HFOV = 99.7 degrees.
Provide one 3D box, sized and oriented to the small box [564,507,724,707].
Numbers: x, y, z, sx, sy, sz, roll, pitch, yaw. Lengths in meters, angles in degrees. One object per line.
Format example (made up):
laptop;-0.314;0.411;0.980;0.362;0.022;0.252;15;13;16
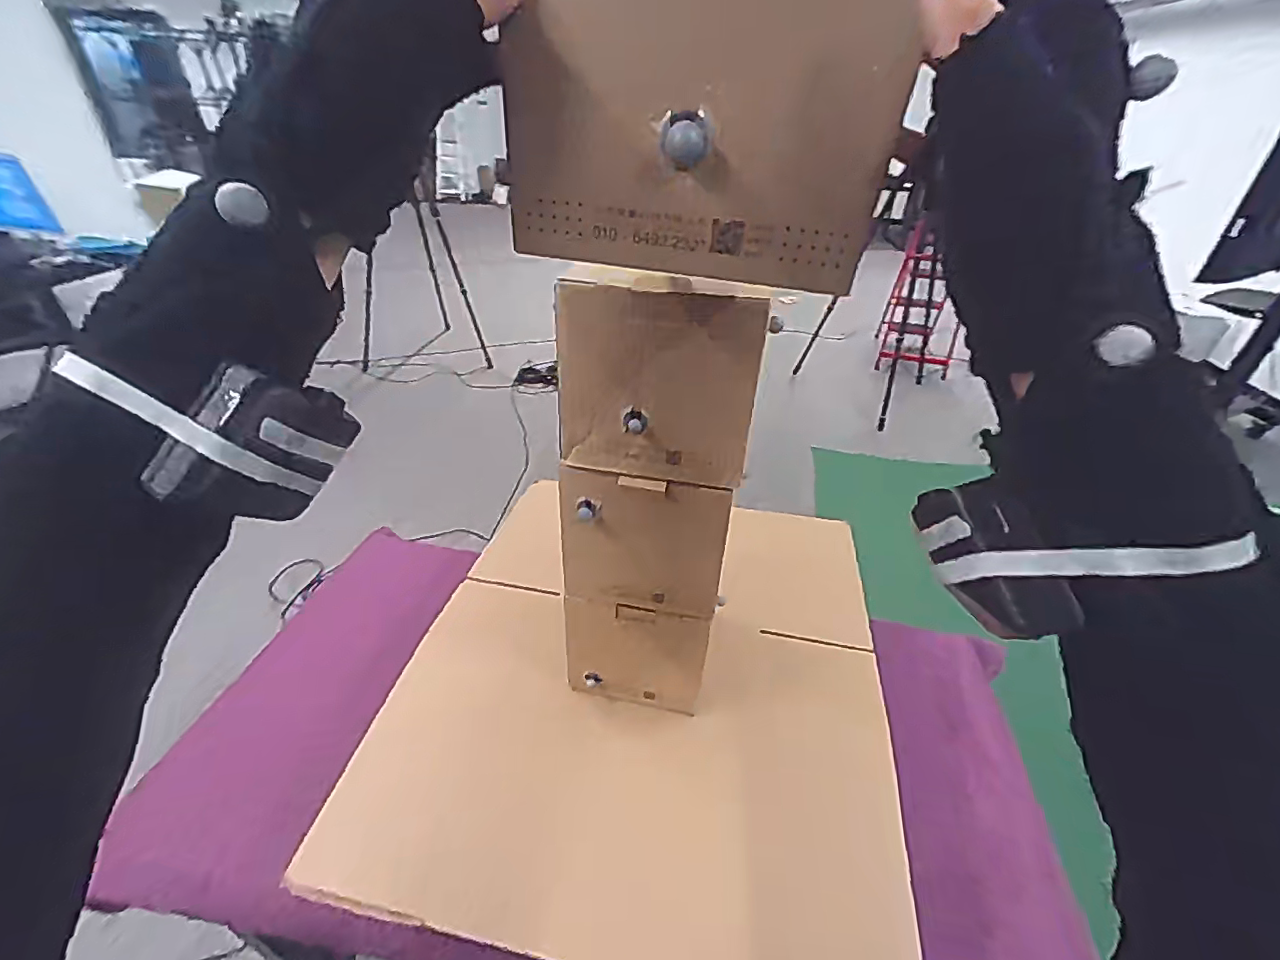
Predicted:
small box;0.011;0.161;0.696;0.168;0.176;0.179;8;34;9

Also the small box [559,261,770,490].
small box;0.027;-0.114;0.517;0.168;0.176;0.179;8;34;7

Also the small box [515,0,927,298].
small box;0.038;-0.214;0.284;0.168;0.176;0.179;10;39;7
